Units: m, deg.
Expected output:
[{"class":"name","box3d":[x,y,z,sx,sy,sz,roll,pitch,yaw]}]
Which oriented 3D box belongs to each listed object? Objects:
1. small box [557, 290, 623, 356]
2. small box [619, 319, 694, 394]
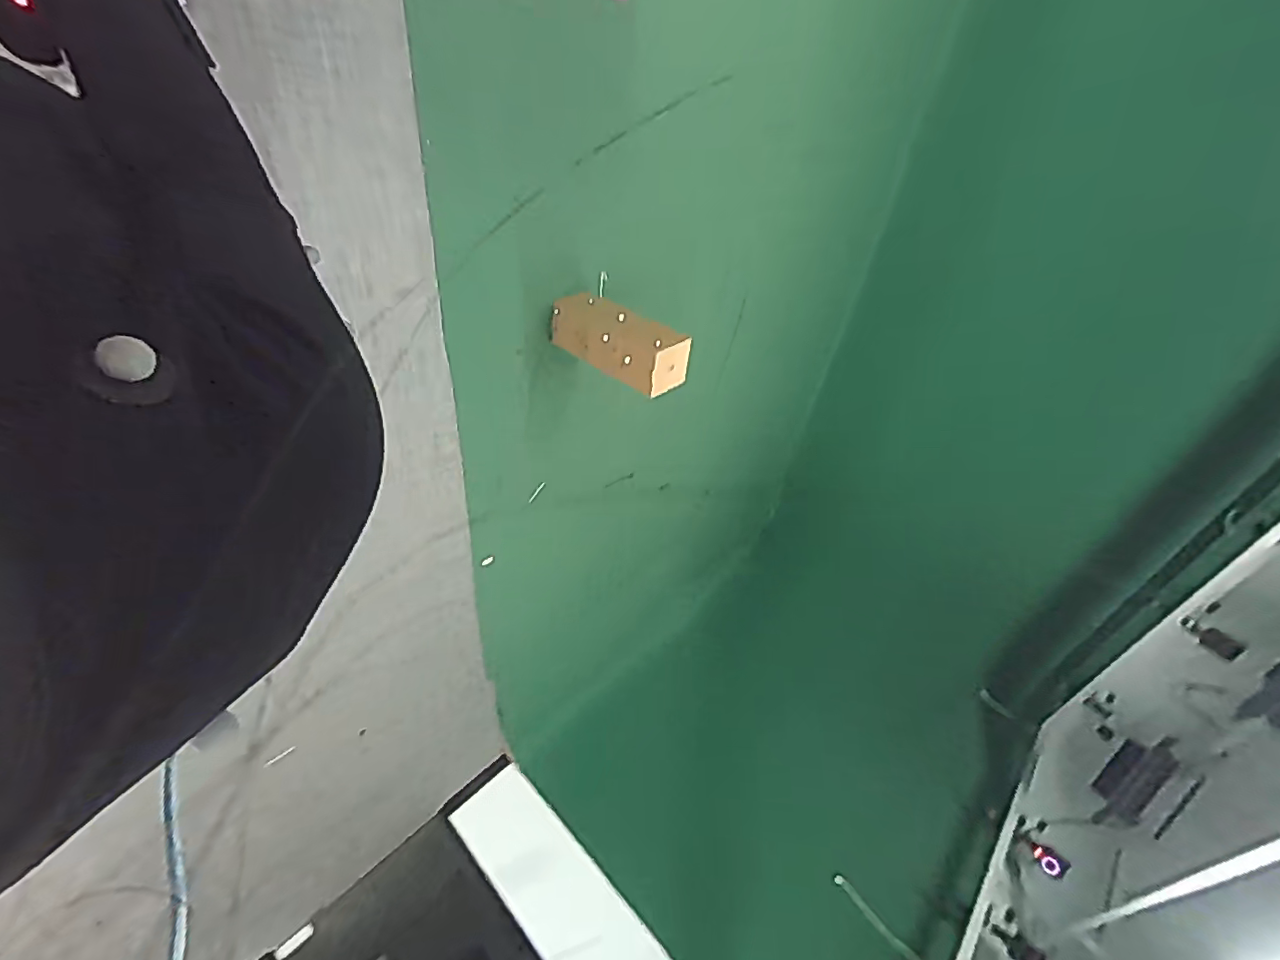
[{"class":"small box","box3d":[-0.186,-0.574,1.962,0.179,0.176,0.168,-30,142,-38]},{"class":"small box","box3d":[0.053,-0.418,1.802,0.179,0.176,0.168,-32,143,-35]}]
